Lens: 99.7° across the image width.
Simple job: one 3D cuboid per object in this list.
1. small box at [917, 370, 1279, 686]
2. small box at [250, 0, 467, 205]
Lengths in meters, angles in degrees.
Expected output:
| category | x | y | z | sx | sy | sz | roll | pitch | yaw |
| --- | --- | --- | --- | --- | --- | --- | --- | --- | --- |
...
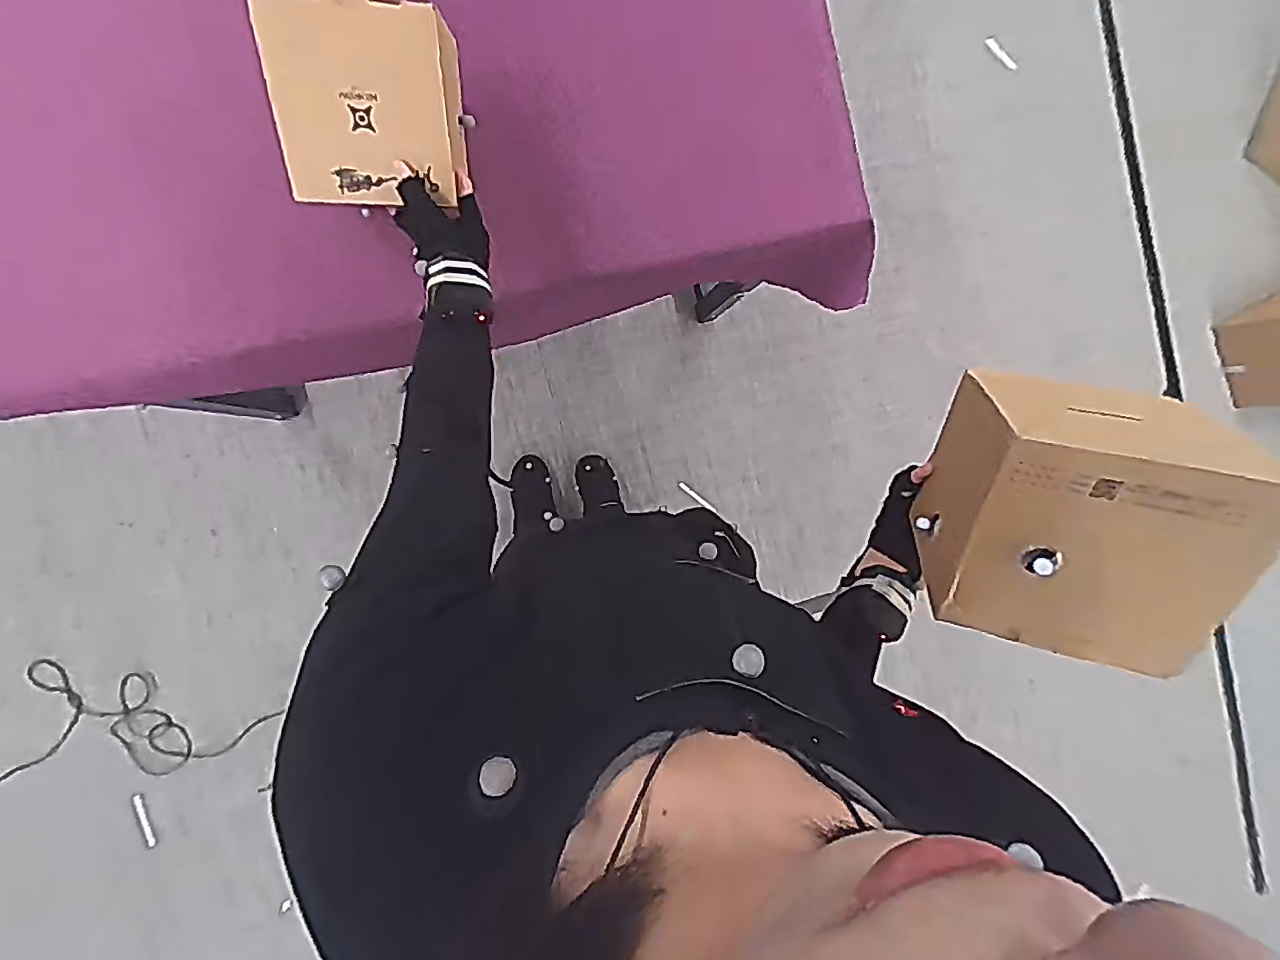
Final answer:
| category | x | y | z | sx | sy | sz | roll | pitch | yaw |
| --- | --- | --- | --- | --- | --- | --- | --- | --- | --- |
| small box | 0.346 | 0.021 | 0.433 | 0.168 | 0.179 | 0.176 | 14 | 120 | 13 |
| small box | -0.291 | -0.409 | 0.601 | 0.168 | 0.176 | 0.179 | -2 | 117 | -10 |
